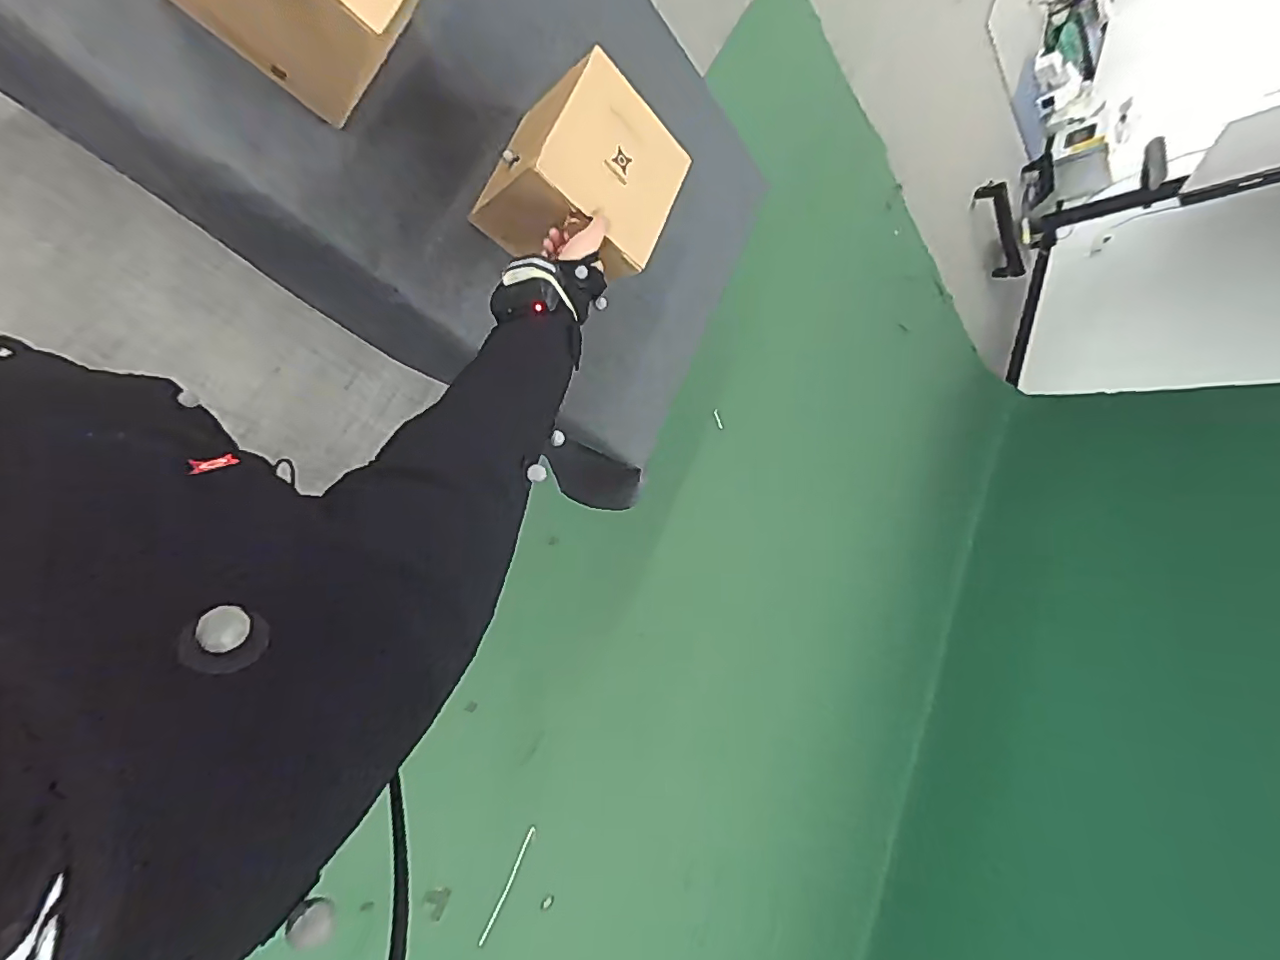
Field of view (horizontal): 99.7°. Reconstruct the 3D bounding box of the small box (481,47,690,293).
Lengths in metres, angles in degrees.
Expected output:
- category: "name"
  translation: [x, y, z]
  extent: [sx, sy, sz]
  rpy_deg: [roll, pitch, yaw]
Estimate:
- category: "small box"
  translation: [-0.073, -0.361, 0.671]
  extent: [0.168, 0.176, 0.179]
  rpy_deg: [31, 72, -38]
